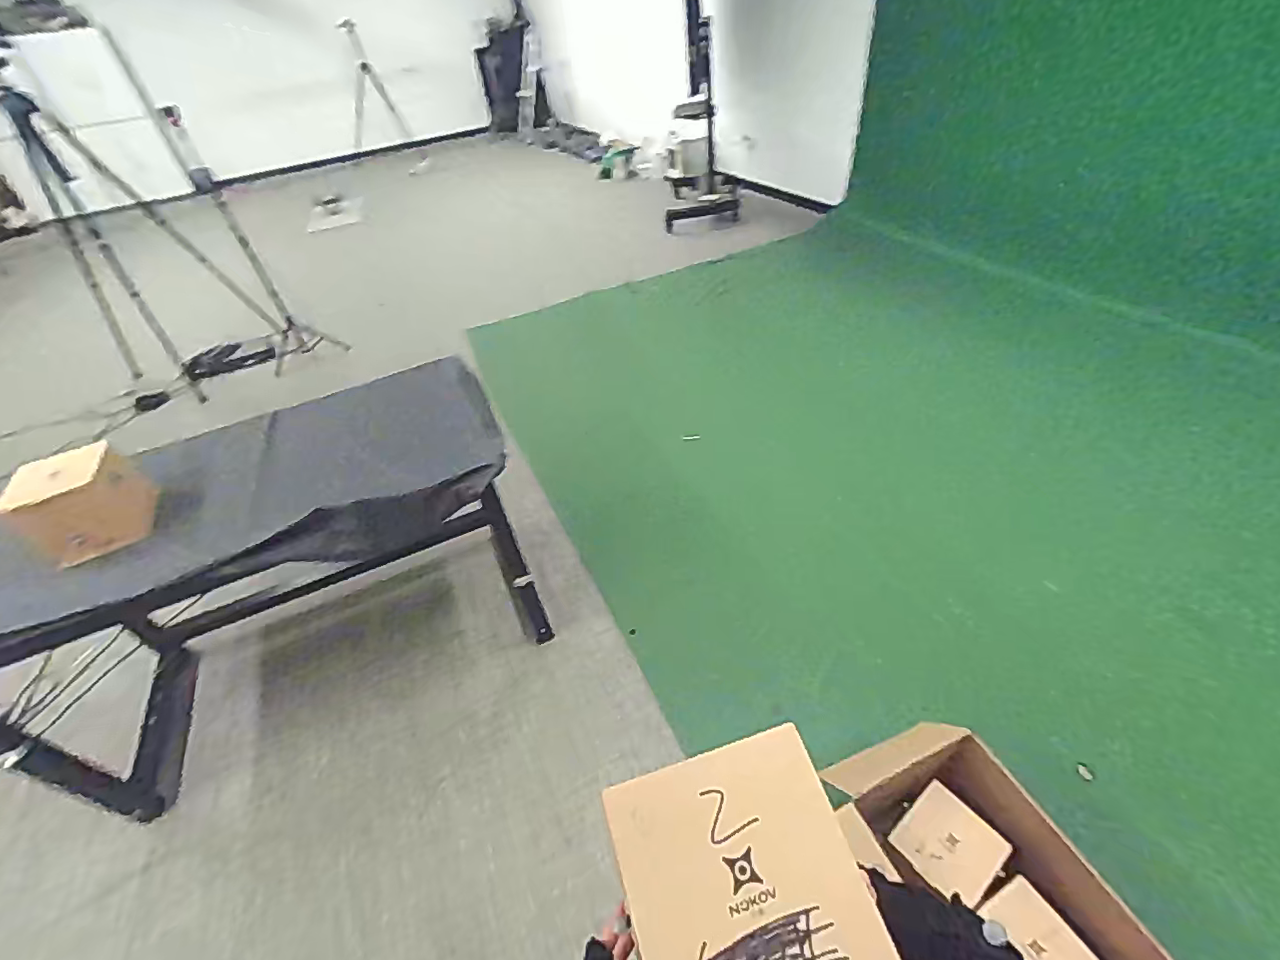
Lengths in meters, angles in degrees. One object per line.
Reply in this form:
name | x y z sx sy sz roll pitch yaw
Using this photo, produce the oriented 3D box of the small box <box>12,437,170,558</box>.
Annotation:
small box | -1.186 0.037 1.189 0.168 0.176 0.179 -22 44 -17
